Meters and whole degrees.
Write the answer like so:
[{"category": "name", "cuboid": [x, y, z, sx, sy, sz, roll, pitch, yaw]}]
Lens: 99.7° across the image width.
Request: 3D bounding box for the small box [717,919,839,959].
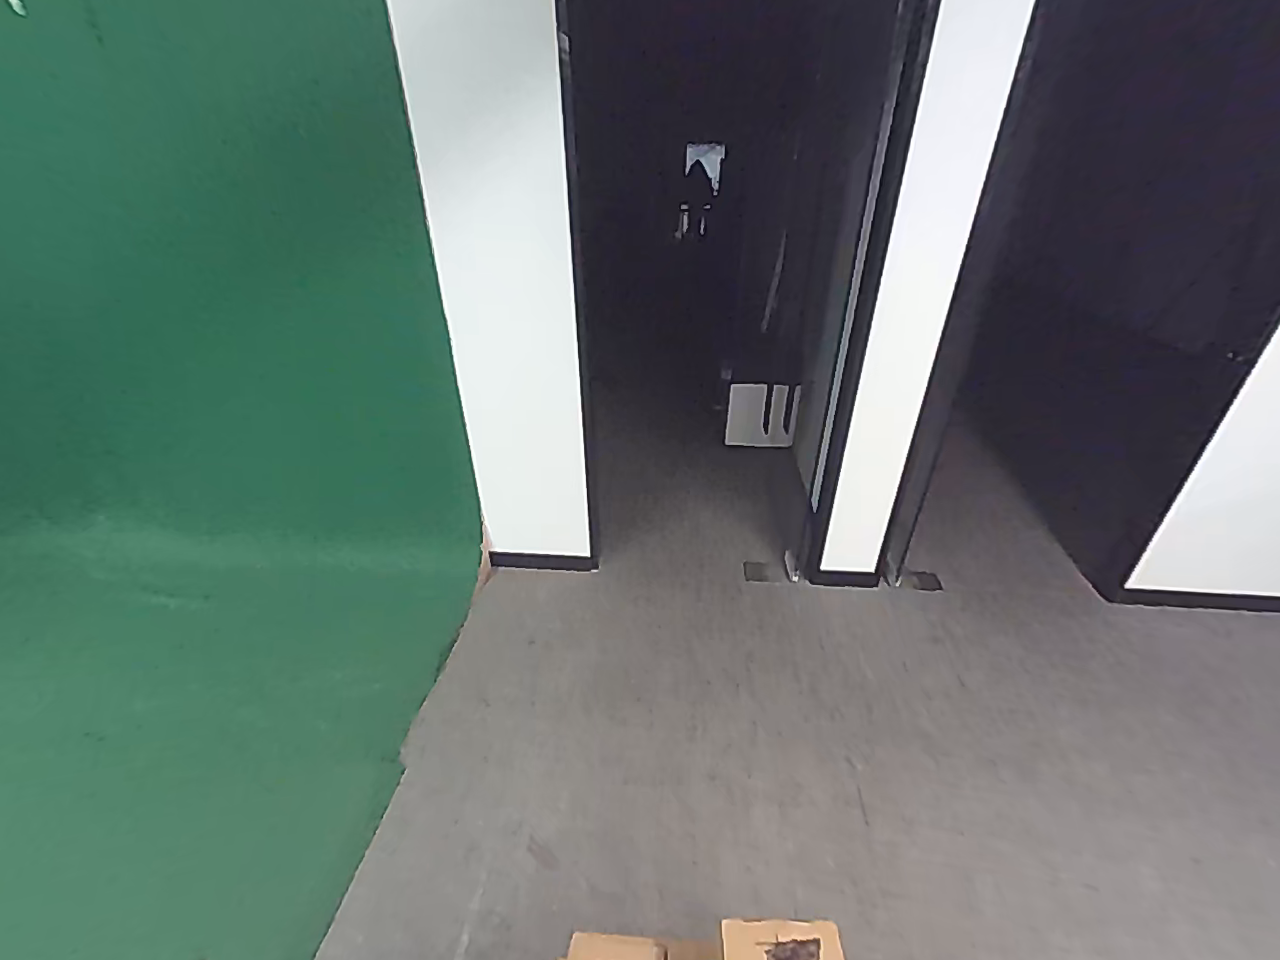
[{"category": "small box", "cuboid": [0.194, 0.754, 0.751, 0.168, 0.176, 0.179, -1, 31, 3]}]
